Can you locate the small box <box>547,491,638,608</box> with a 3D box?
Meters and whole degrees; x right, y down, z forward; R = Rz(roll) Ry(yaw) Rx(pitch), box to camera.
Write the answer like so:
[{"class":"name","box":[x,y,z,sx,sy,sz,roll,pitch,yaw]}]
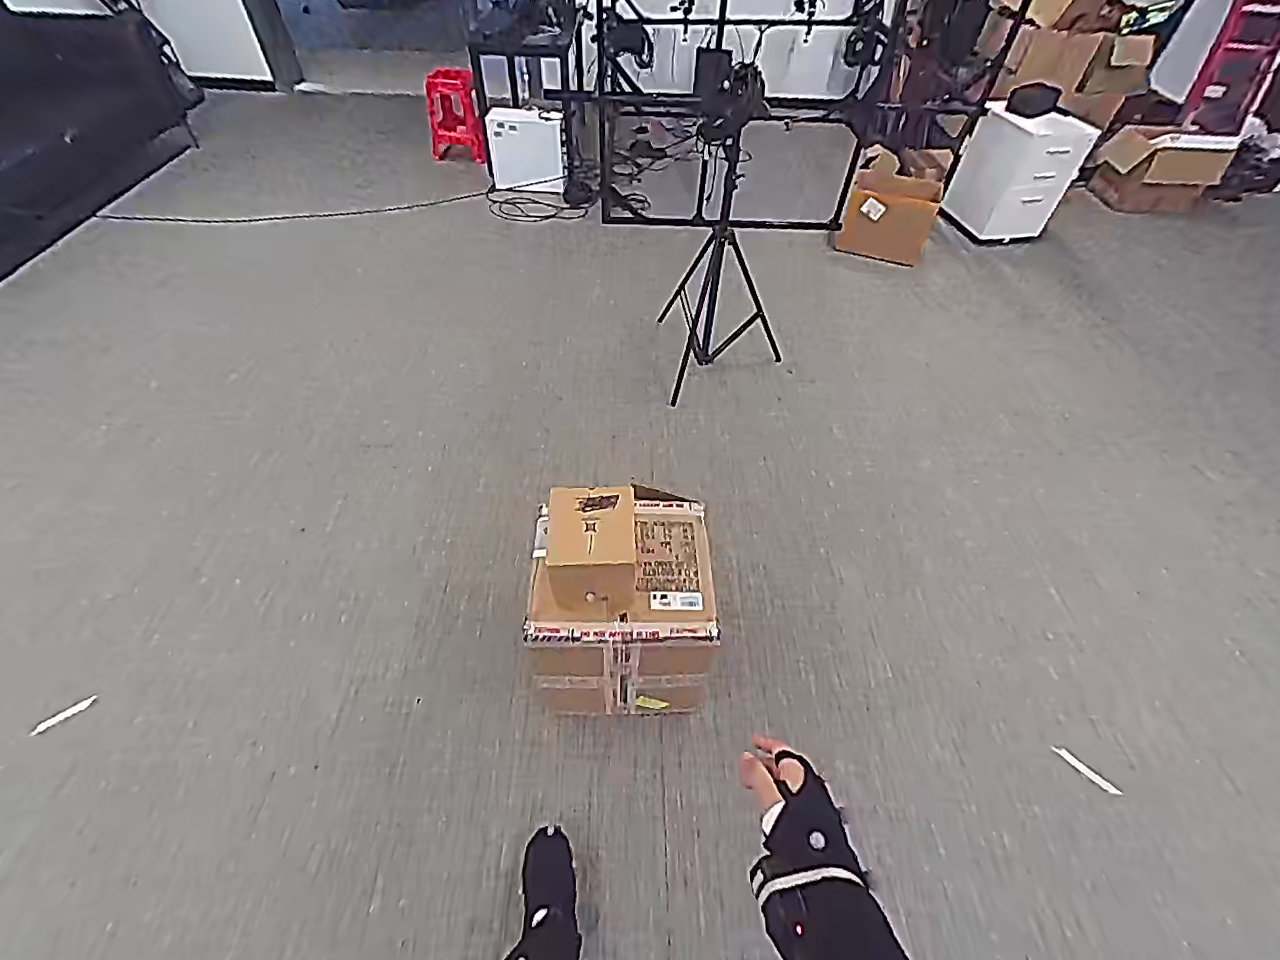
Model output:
[{"class":"small box","box":[-0.091,0.141,1.086,0.168,0.176,0.179,-2,53,-2]}]
